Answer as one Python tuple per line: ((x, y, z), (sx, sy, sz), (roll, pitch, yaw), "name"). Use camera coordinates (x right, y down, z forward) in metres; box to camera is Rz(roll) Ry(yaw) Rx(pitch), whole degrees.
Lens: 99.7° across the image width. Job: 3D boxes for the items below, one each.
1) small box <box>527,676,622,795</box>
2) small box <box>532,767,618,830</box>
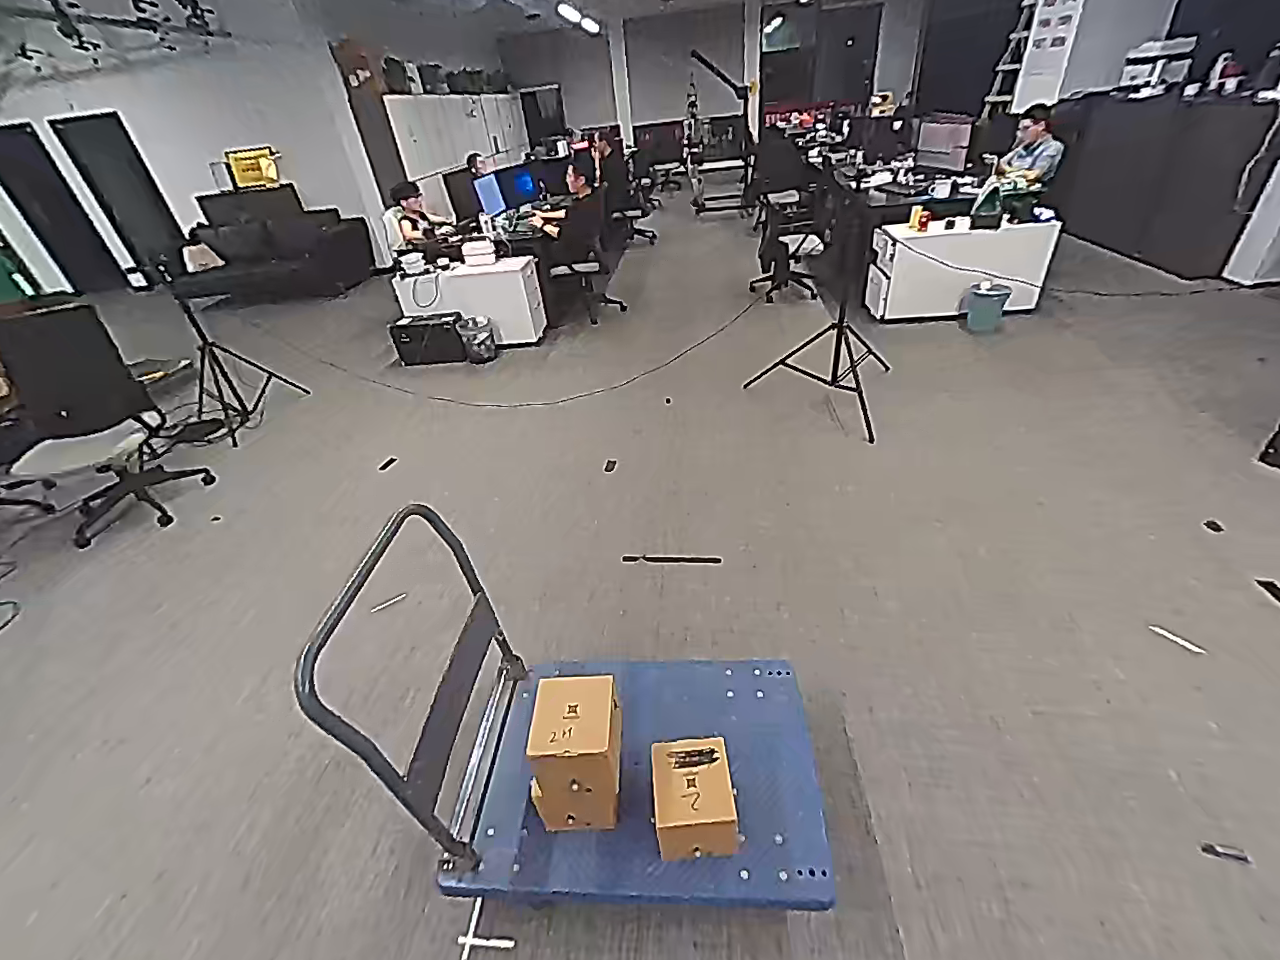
((-0.132, 0.547, 1.163), (0.168, 0.176, 0.179), (-4, 36, 4), "small box")
((-0.142, 0.683, 1.259), (0.168, 0.176, 0.179), (-4, 35, 3), "small box")
